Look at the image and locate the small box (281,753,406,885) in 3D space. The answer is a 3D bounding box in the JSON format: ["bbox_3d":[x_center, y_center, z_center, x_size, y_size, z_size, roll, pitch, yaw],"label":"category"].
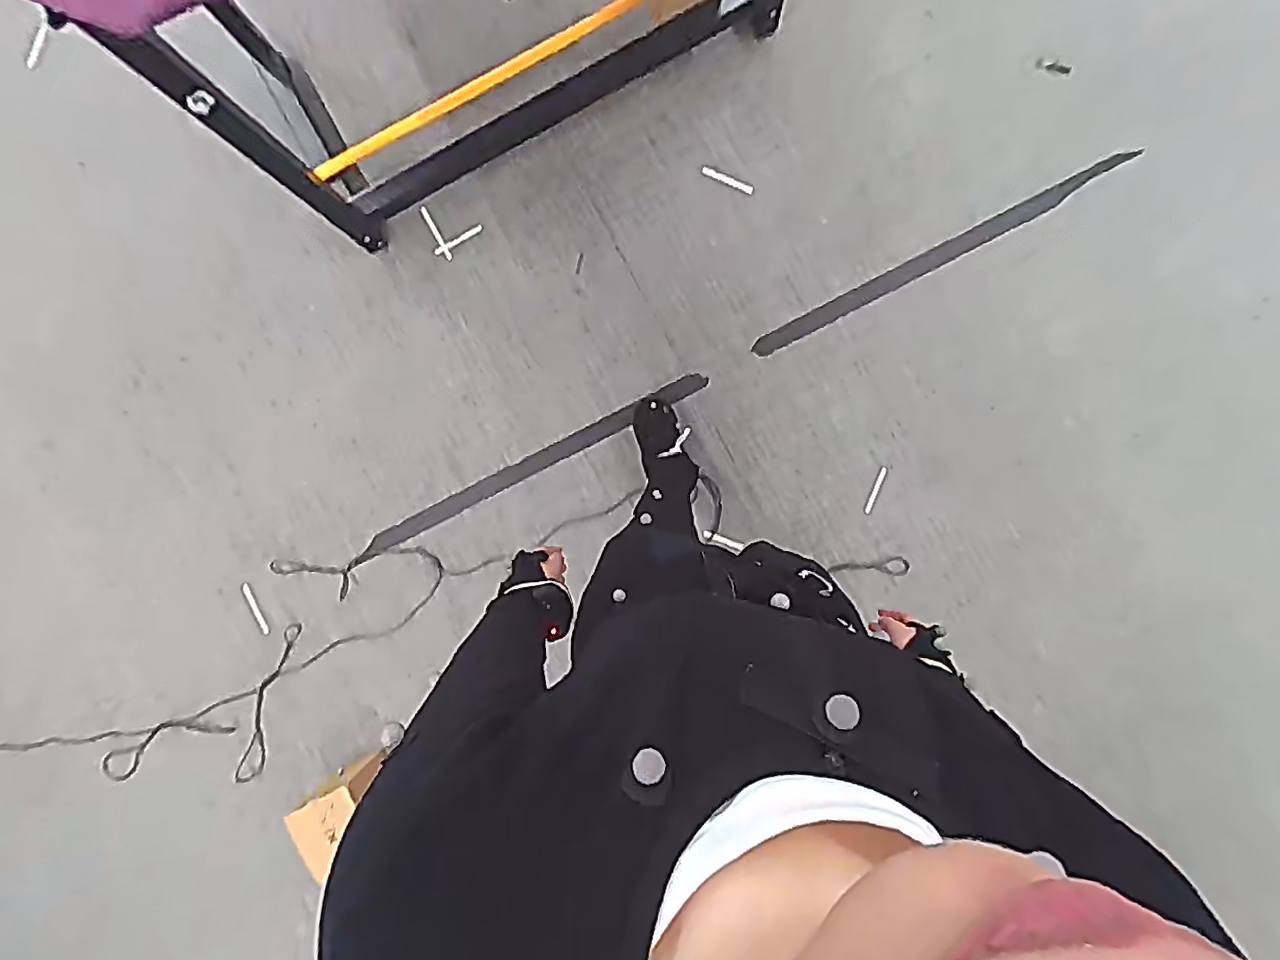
[{"bbox_3d":[-0.699,0.802,1.295,0.168,0.176,0.179,-28,89,1],"label":"small box"}]
